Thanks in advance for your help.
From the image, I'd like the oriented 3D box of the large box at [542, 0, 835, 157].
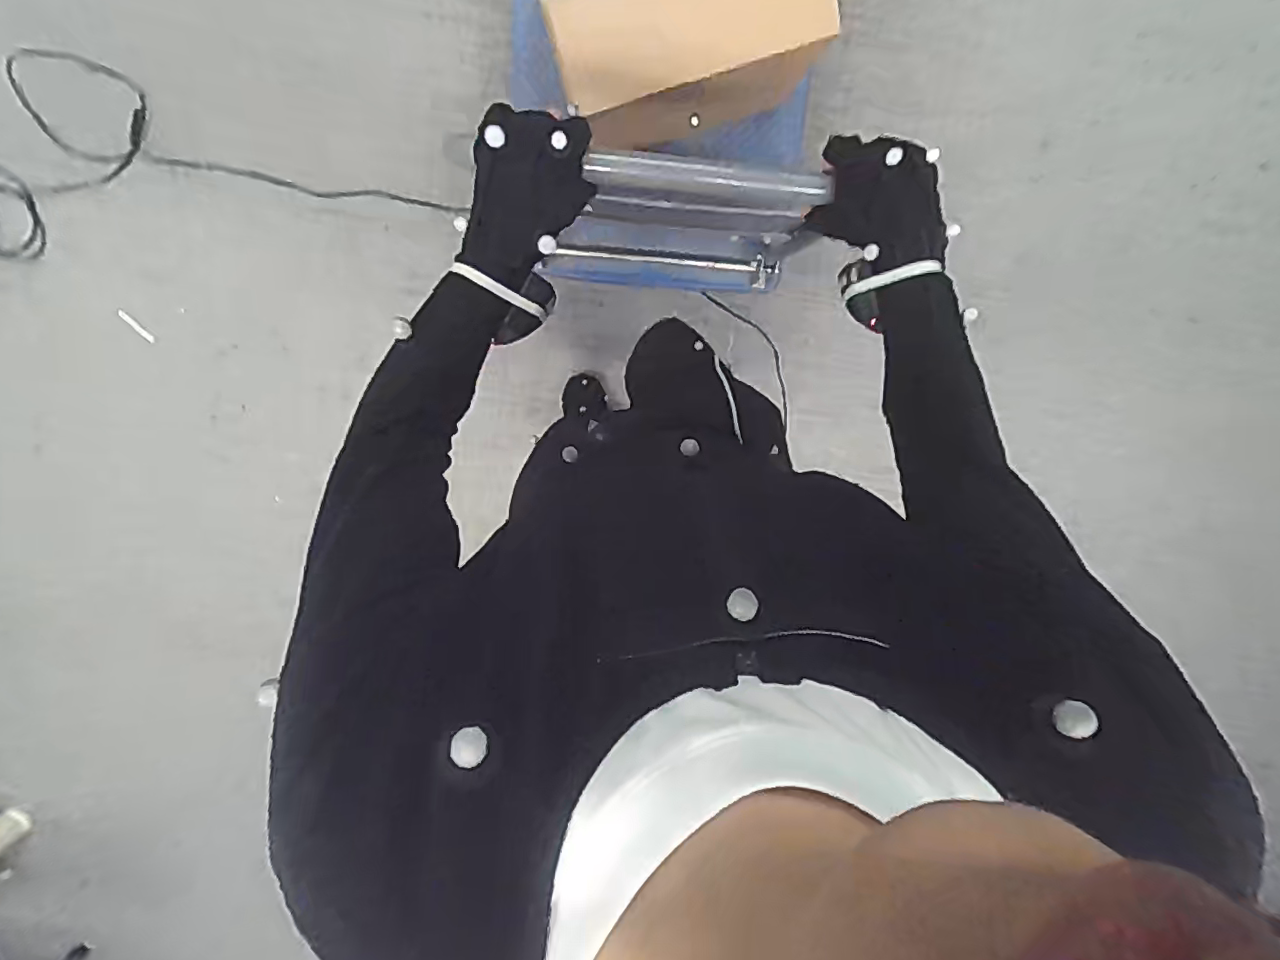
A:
[{"bbox_3d":[0.050,-0.793,0.894,0.408,0.320,0.320,-16,108,3],"label":"large box"}]
